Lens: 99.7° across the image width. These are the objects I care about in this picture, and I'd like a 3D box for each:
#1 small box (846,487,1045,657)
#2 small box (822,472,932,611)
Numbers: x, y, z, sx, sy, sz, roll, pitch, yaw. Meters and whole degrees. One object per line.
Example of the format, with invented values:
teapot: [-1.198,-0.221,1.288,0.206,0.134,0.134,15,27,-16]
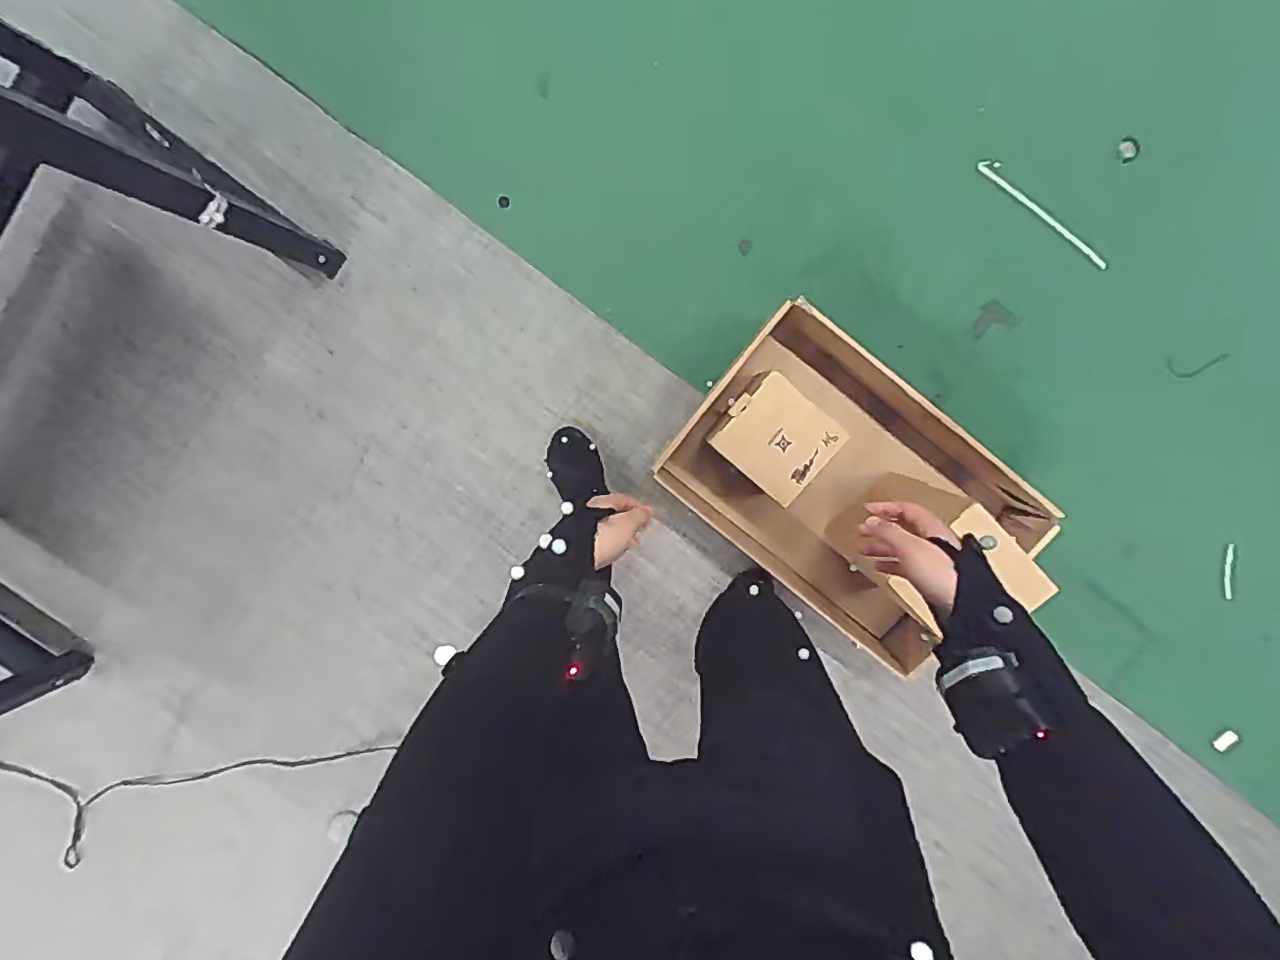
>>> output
small box: [0.460,0.131,0.844,0.168,0.176,0.179,-43,94,8]
small box: [0.471,0.103,1.006,0.179,0.176,0.168,-43,94,9]
